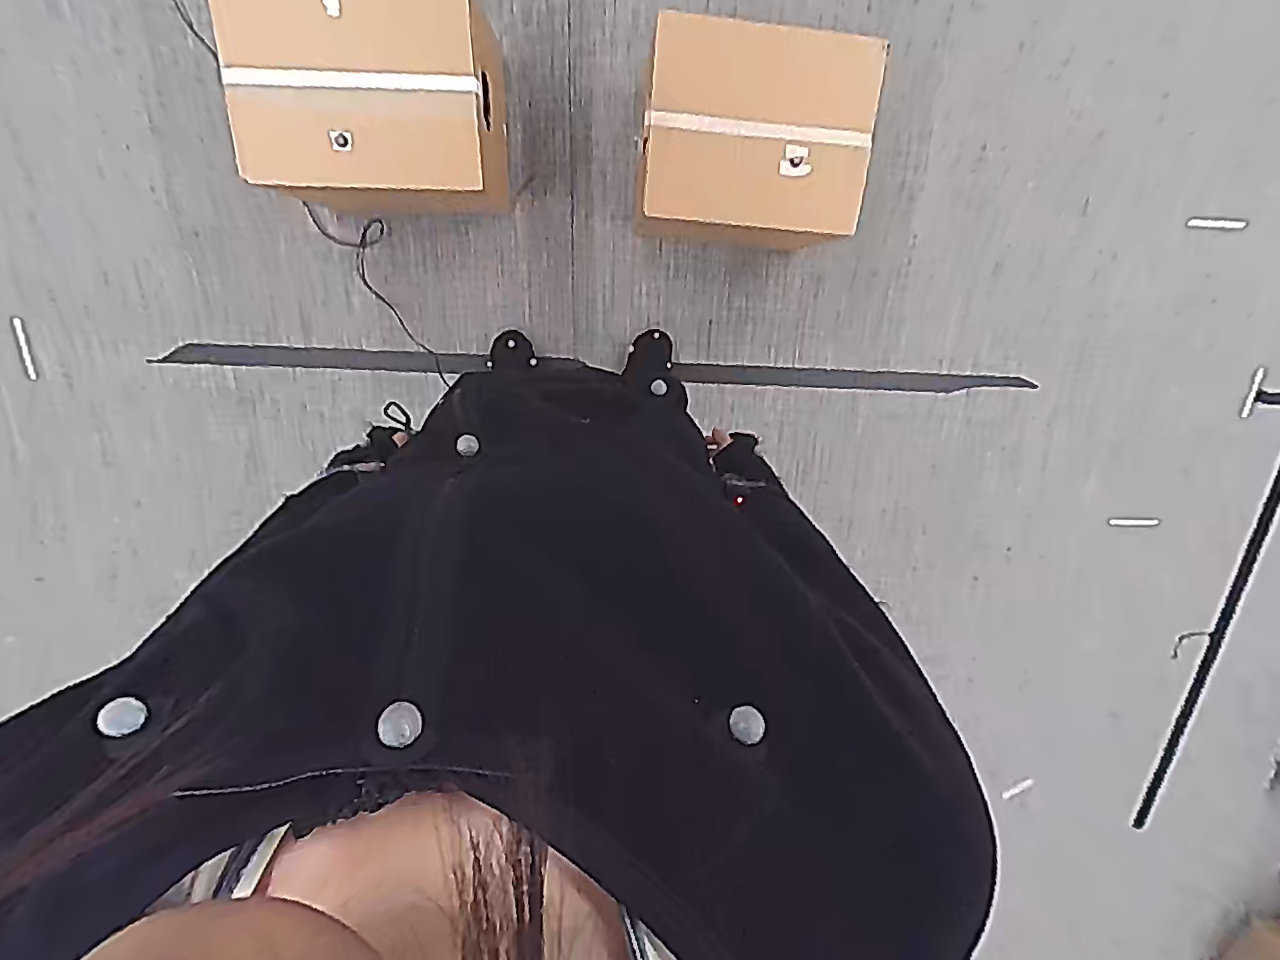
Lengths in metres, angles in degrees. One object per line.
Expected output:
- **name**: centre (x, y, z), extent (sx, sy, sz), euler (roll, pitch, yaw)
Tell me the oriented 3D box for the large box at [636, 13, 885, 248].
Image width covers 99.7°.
- **large box**: centre (0.207, -0.670, 1.104), extent (0.408, 0.320, 0.320), euler (3, 108, -6)
